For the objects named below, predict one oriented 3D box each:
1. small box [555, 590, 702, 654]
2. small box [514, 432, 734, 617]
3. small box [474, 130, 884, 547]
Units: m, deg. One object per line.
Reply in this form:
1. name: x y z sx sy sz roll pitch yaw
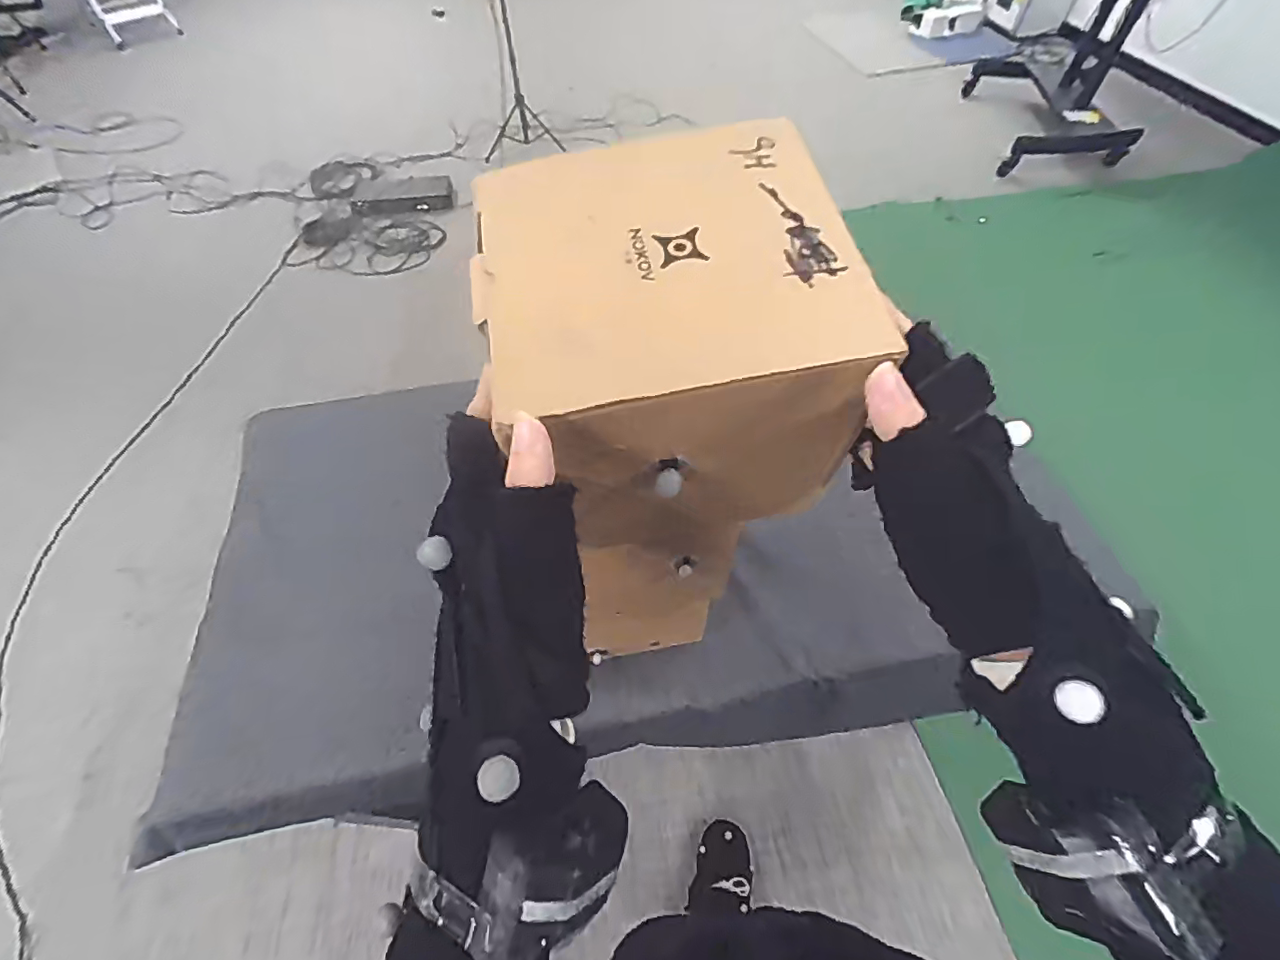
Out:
1. small box: -0.023 0.100 0.668 0.168 0.176 0.179 -12 56 -6
2. small box: -0.018 0.017 0.528 0.179 0.176 0.168 -9 53 -3
3. small box: 0.014 -0.073 0.339 0.179 0.176 0.168 -13 63 -2
